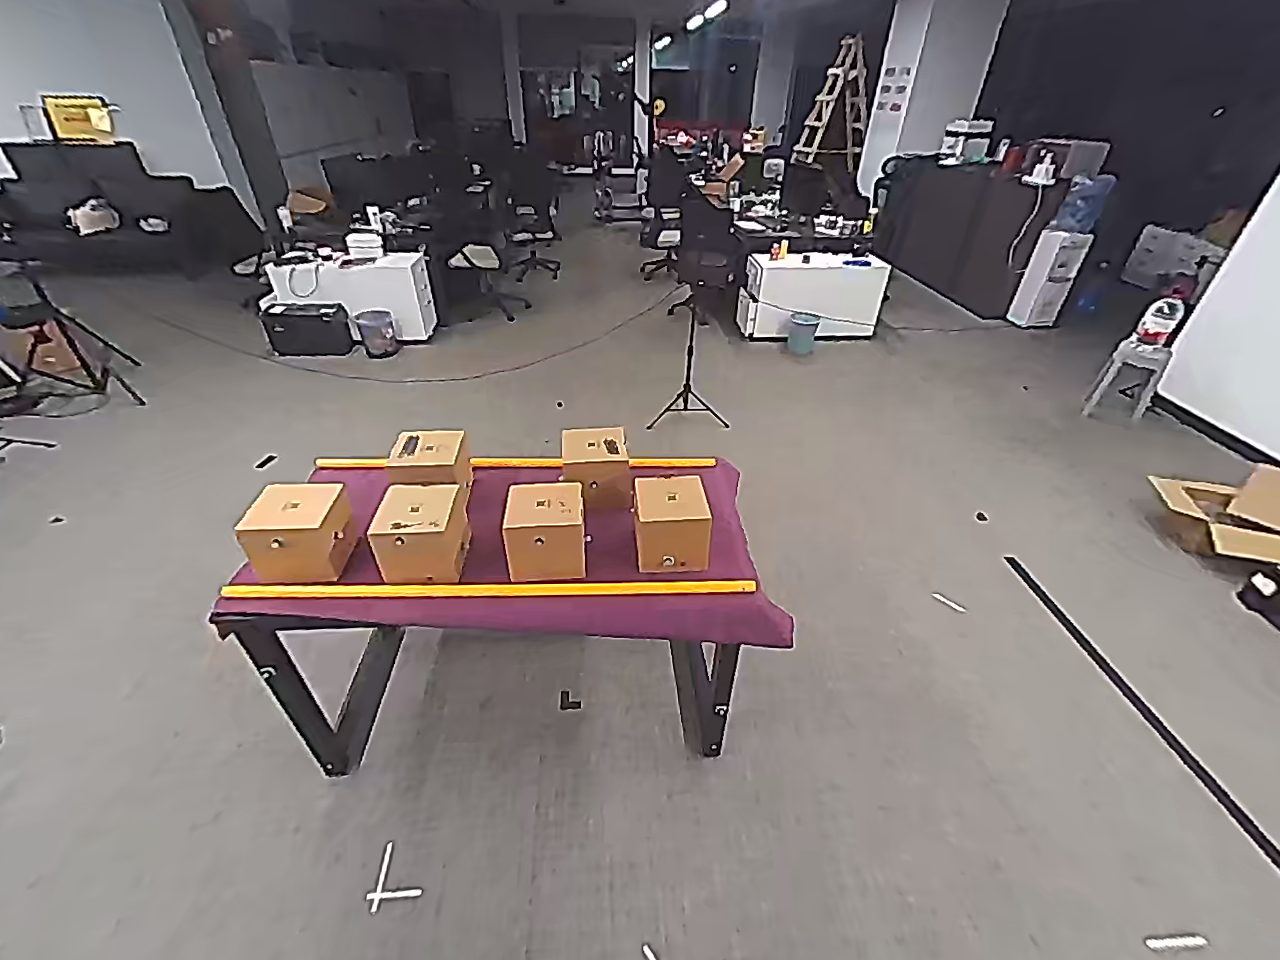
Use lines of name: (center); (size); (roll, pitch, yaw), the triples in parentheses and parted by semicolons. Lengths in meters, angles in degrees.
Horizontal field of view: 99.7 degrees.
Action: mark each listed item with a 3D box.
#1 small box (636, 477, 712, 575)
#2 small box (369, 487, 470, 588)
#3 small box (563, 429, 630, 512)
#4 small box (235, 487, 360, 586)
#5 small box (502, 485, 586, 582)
small box: (0.076, 0.110, 1.320); (0.168, 0.176, 0.179); (-3, 34, -3)
small box: (-0.506, 0.135, 1.274); (0.168, 0.176, 0.179); (-2, 35, -3)
small box: (-0.121, -0.024, 1.504); (0.179, 0.176, 0.168); (-4, 37, -5)
small box: (-0.786, 0.133, 1.268); (0.179, 0.176, 0.168); (-1, 35, -4)
small box: (-0.220, 0.128, 1.288); (0.179, 0.176, 0.168); (-2, 34, -5)
